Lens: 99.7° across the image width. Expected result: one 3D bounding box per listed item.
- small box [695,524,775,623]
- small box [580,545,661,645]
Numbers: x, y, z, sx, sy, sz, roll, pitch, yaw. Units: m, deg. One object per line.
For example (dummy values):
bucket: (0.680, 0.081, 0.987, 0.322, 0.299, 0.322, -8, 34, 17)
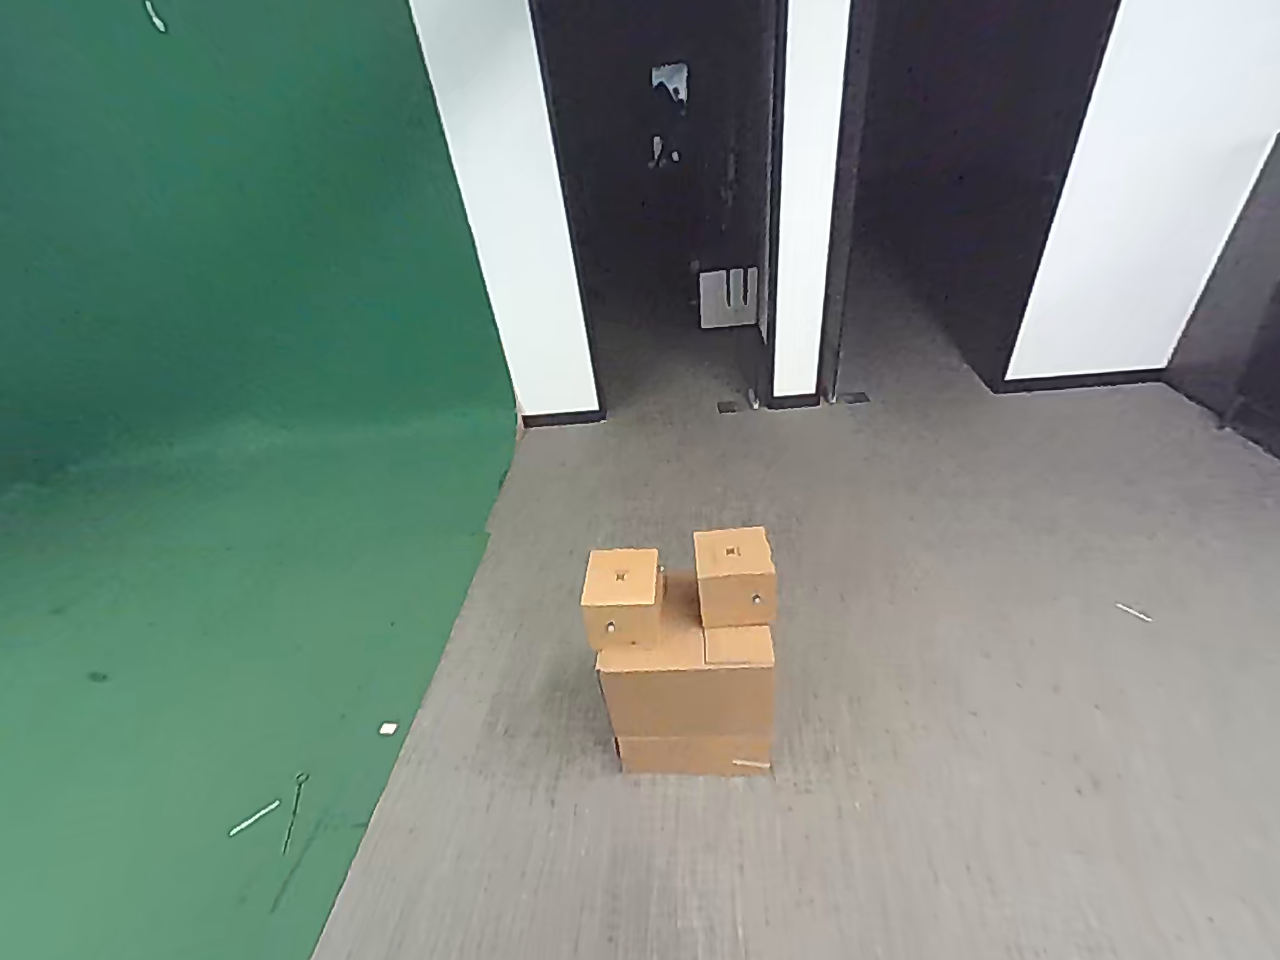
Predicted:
small box: (0.227, 0.228, 1.313, 0.179, 0.176, 0.168, -5, 34, 6)
small box: (-0.038, 0.277, 1.293, 0.168, 0.176, 0.179, -1, 37, 6)
